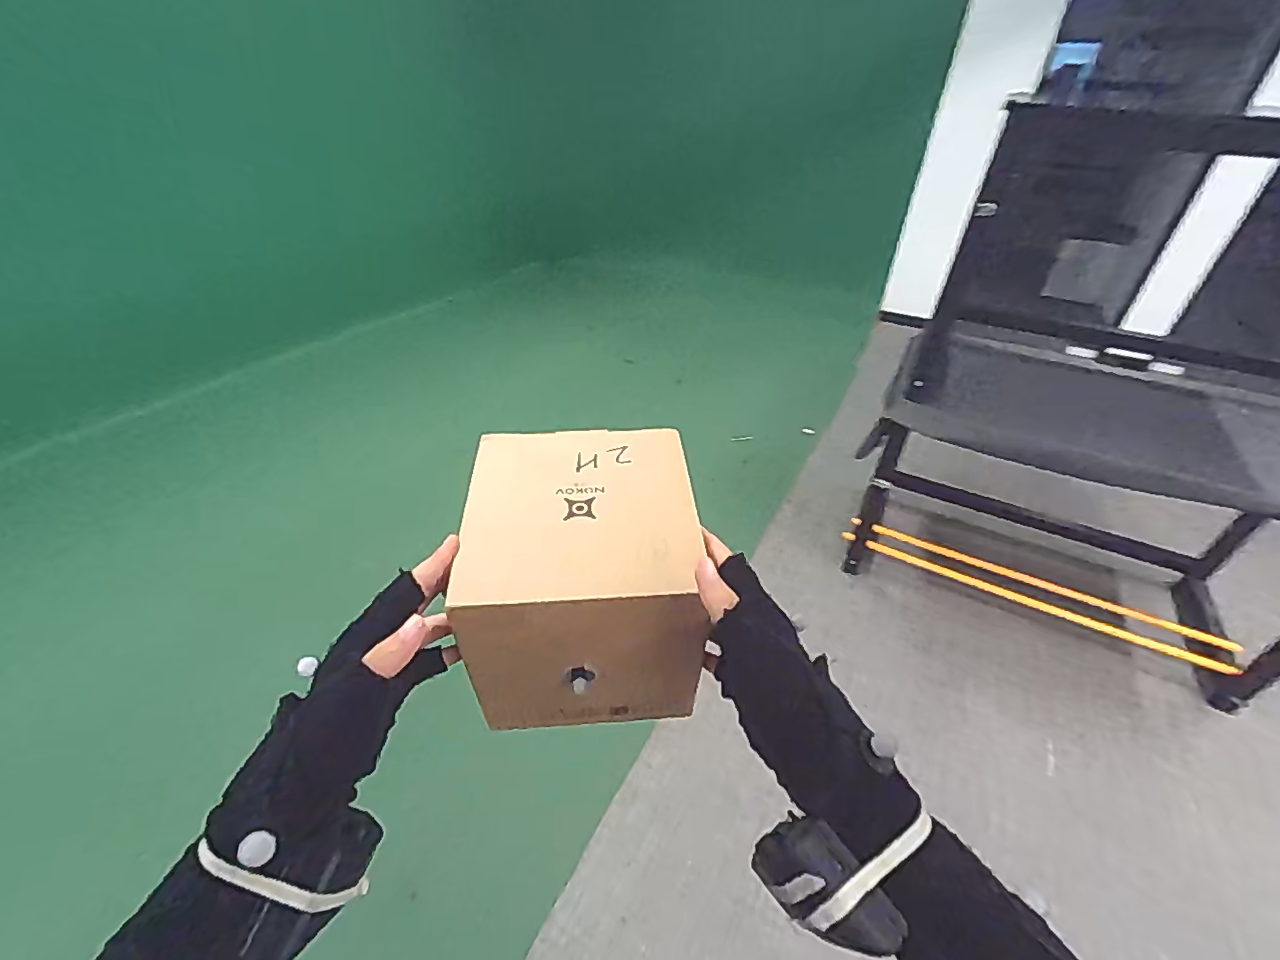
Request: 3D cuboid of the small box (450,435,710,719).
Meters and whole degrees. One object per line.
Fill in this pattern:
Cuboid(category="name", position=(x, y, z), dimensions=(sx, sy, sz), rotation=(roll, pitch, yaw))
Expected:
Cuboid(category="small box", position=(-0.040, 0.081, 0.446), dimensions=(0.168, 0.176, 0.179), rotation=(-1, 40, -3))
